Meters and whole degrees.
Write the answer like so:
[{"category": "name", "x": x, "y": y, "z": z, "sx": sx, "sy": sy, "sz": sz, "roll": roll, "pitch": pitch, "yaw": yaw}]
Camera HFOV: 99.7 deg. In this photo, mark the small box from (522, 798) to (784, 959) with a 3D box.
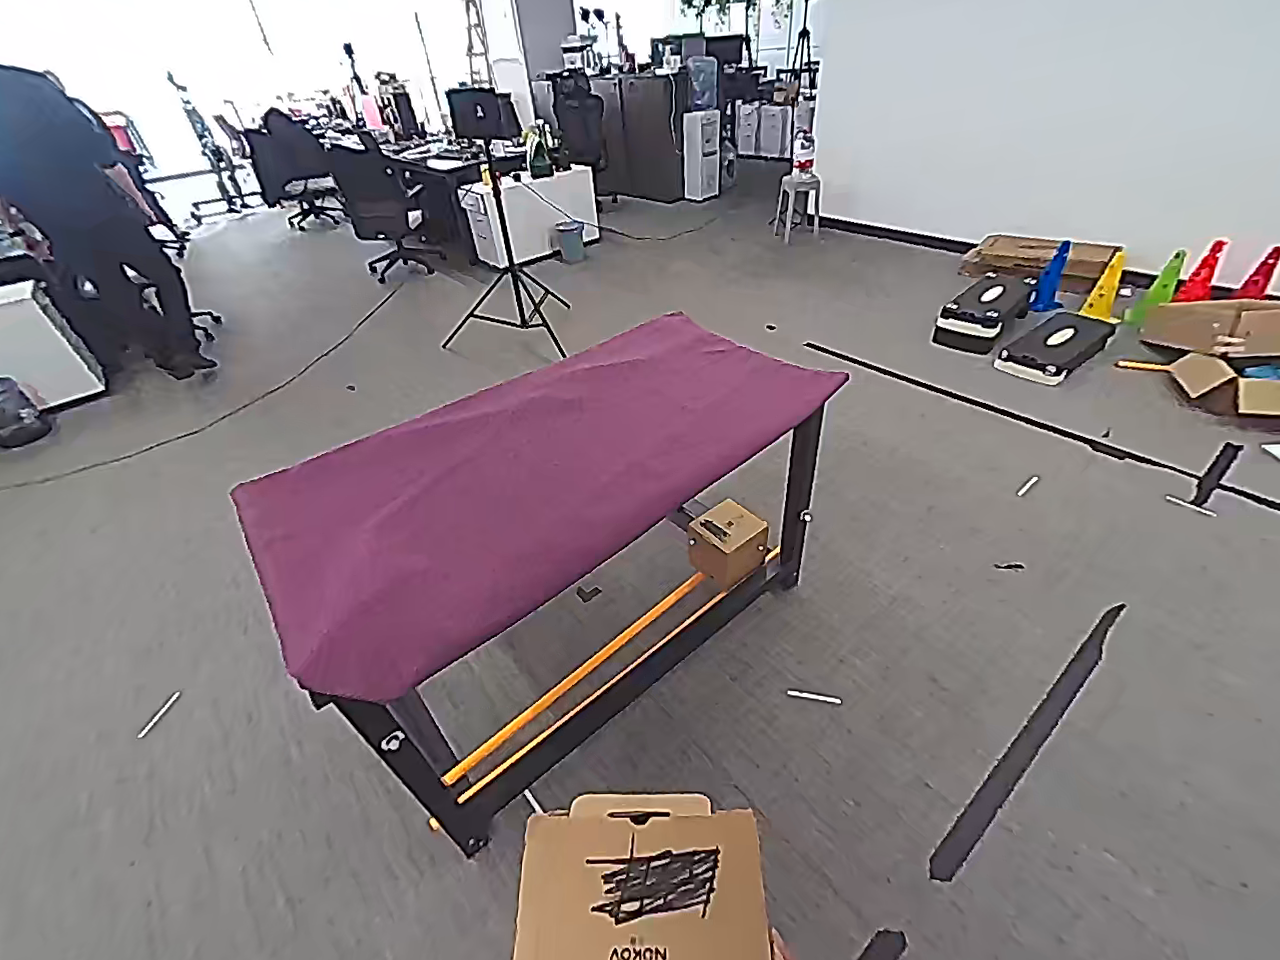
[{"category": "small box", "x": 0.014, "y": 0.347, "z": 0.395, "sx": 0.168, "sy": 0.176, "sz": 0.179, "roll": -3, "pitch": 52, "yaw": 5}]
